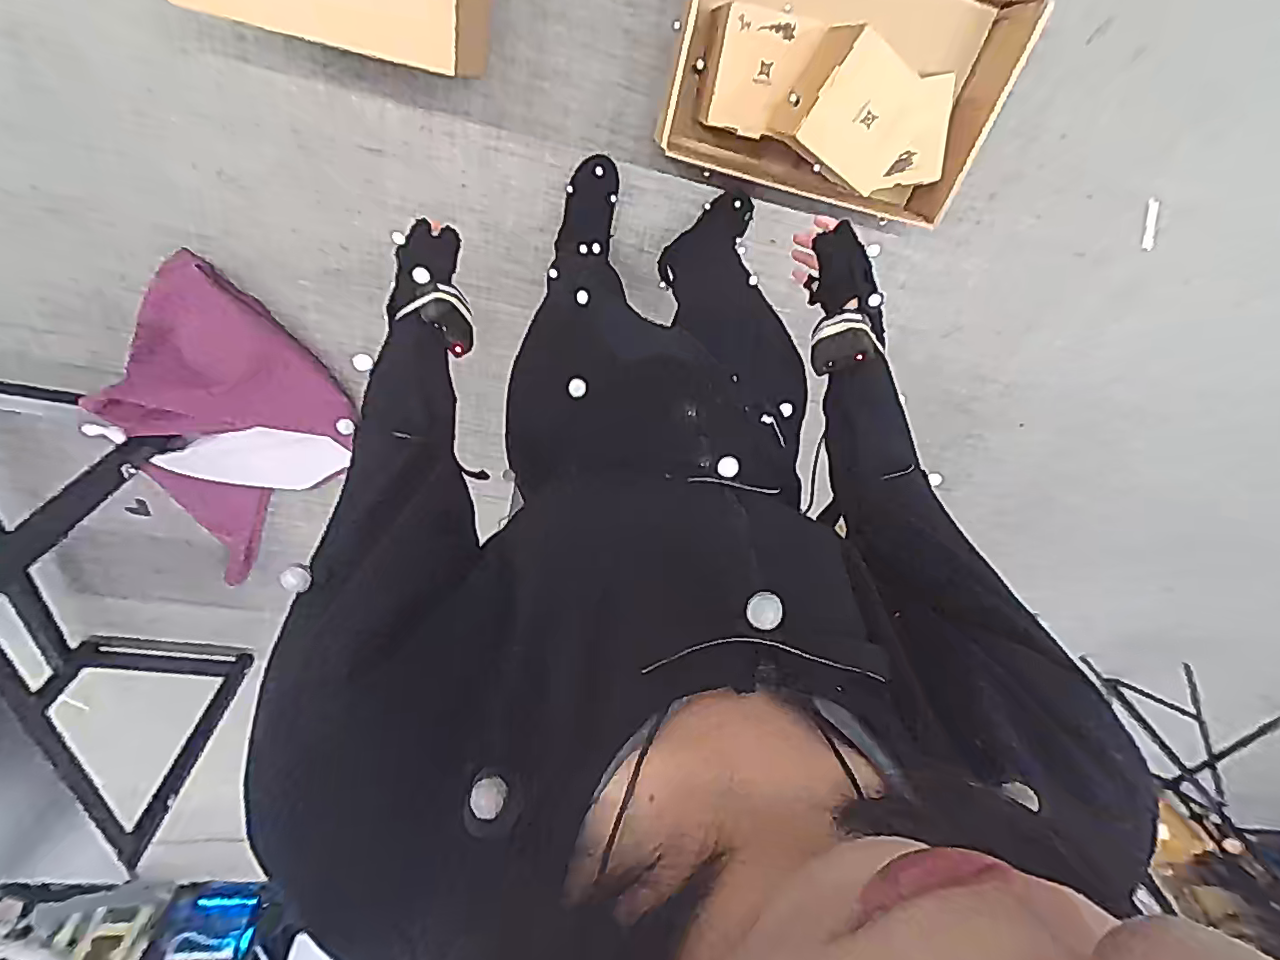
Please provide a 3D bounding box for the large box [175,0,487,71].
[{"bbox_3d":[-0.461,-0.874,0.842,0.408,0.320,0.320,7,126,-11],"label":"large box"}]

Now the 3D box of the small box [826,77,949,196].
[{"bbox_3d":[0.484,-0.694,1.089,0.168,0.176,0.179,-9,126,3],"label":"small box"}]
